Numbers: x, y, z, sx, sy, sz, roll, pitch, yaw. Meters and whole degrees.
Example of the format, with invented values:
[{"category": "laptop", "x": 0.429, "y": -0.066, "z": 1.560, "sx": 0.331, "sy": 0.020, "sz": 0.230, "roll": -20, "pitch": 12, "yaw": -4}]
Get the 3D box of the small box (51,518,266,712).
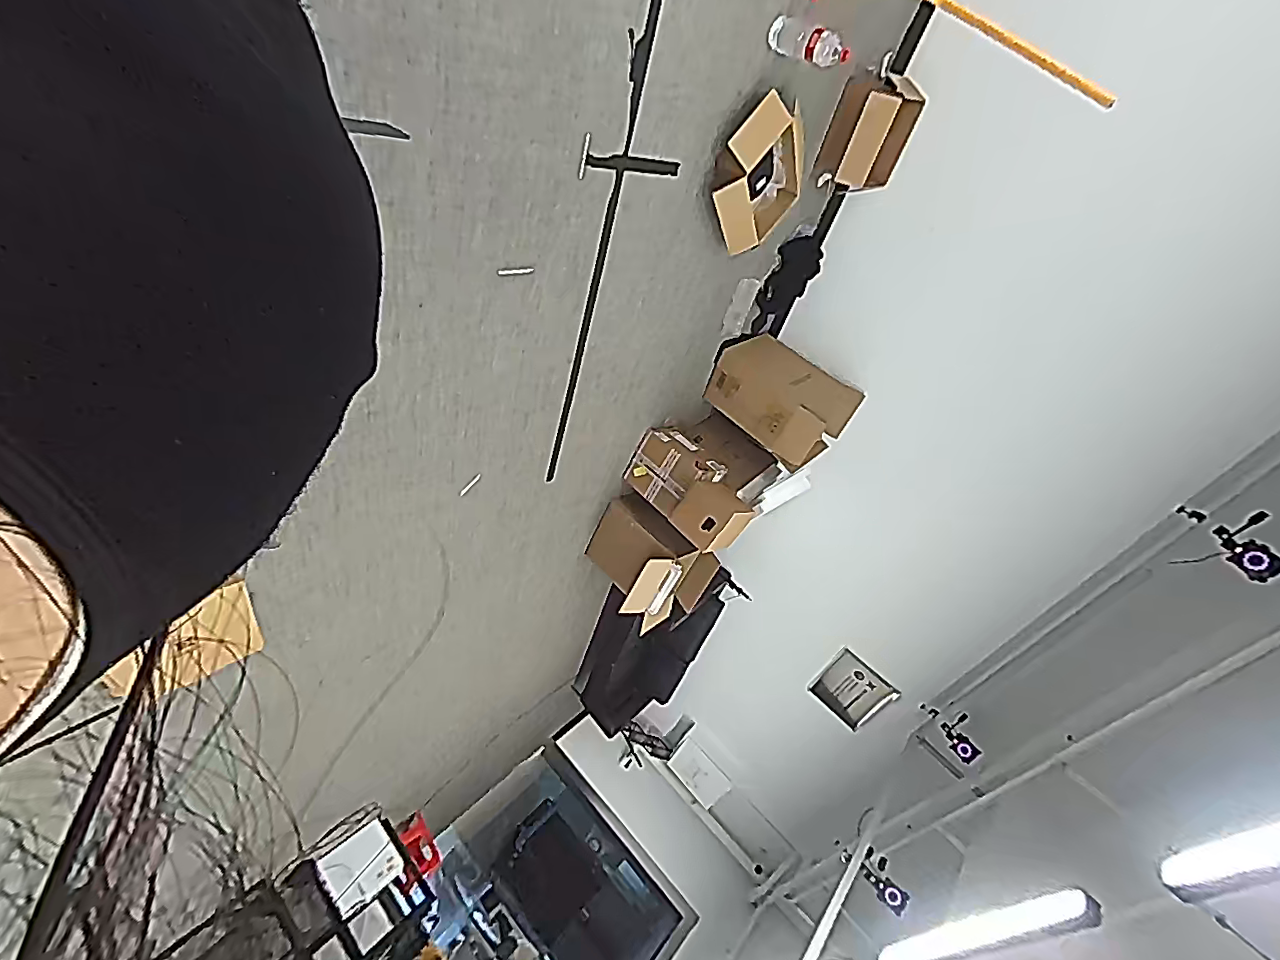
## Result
[{"category": "small box", "x": -0.662, "y": 0.175, "z": 0.755, "sx": 0.168, "sy": 0.176, "sz": 0.179, "roll": -27, "pitch": 149, "yaw": -42}]
